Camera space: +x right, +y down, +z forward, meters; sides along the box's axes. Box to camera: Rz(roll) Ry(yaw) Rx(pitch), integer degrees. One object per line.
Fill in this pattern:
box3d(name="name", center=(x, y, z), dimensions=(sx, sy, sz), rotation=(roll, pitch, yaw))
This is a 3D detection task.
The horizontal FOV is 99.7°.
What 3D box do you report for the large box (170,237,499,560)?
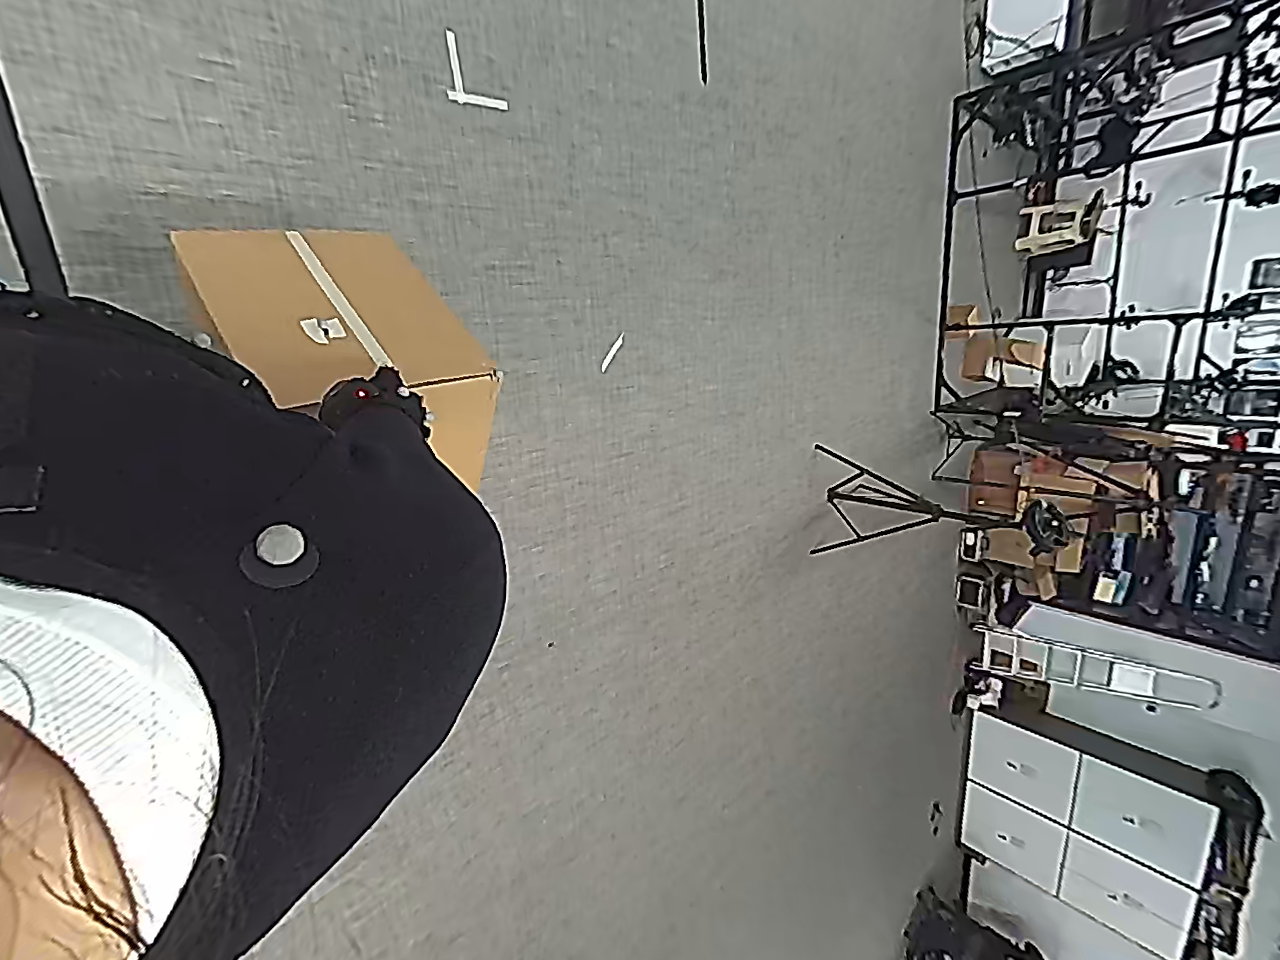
box3d(name="large box", center=(-0.497, -0.149, 0.897), dimensions=(0.320, 0.408, 0.320), rotation=(-22, 152, -40))
